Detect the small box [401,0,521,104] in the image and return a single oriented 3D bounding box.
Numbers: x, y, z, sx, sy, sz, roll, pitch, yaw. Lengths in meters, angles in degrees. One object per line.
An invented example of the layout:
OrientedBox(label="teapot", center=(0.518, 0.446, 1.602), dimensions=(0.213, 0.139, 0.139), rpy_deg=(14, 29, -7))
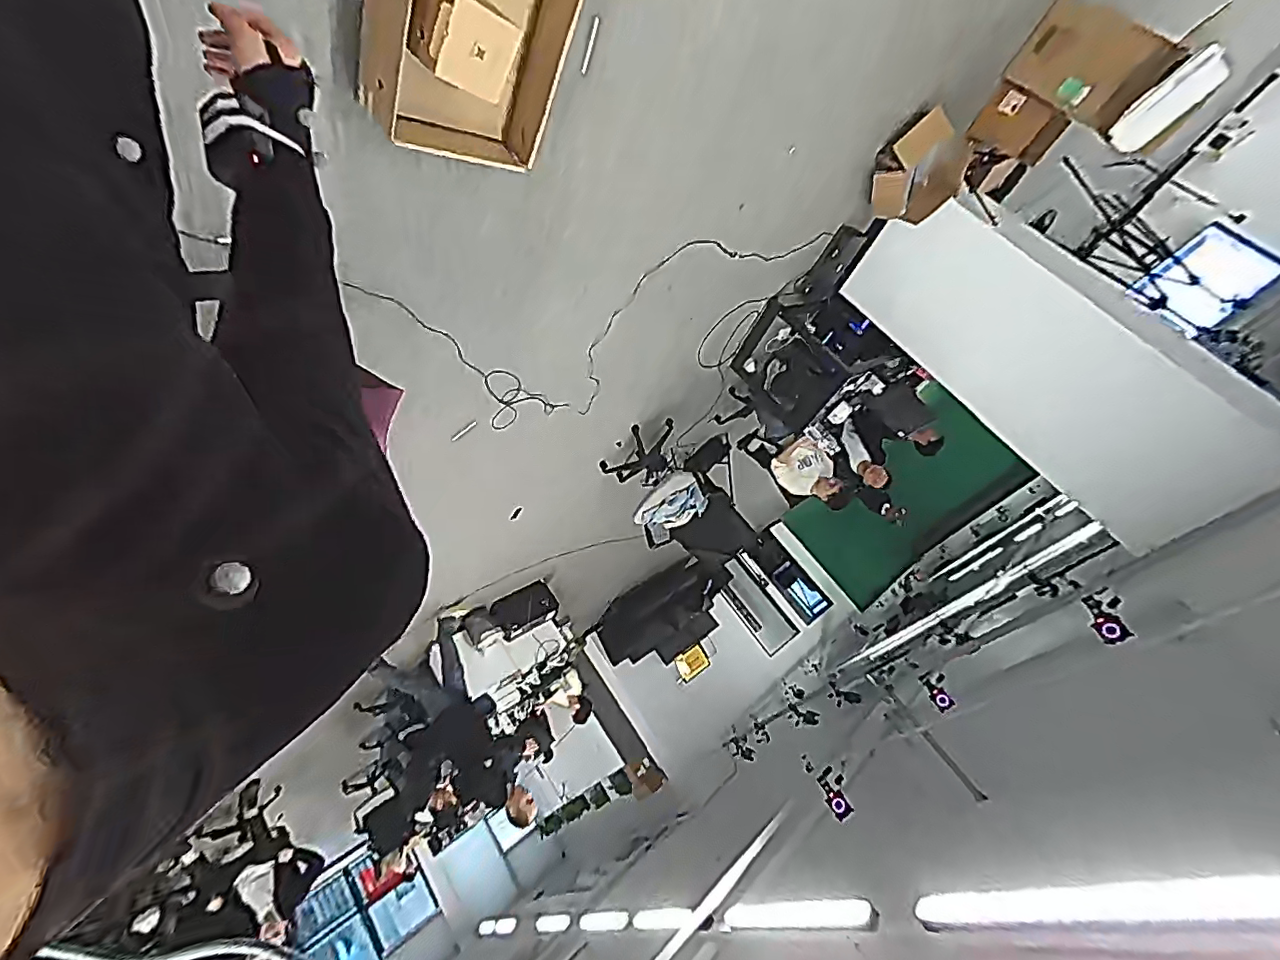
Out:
OrientedBox(label="small box", center=(-0.410, -1.007, 1.224), dimensions=(0.179, 0.176, 0.168), rpy_deg=(-13, 148, -51))
